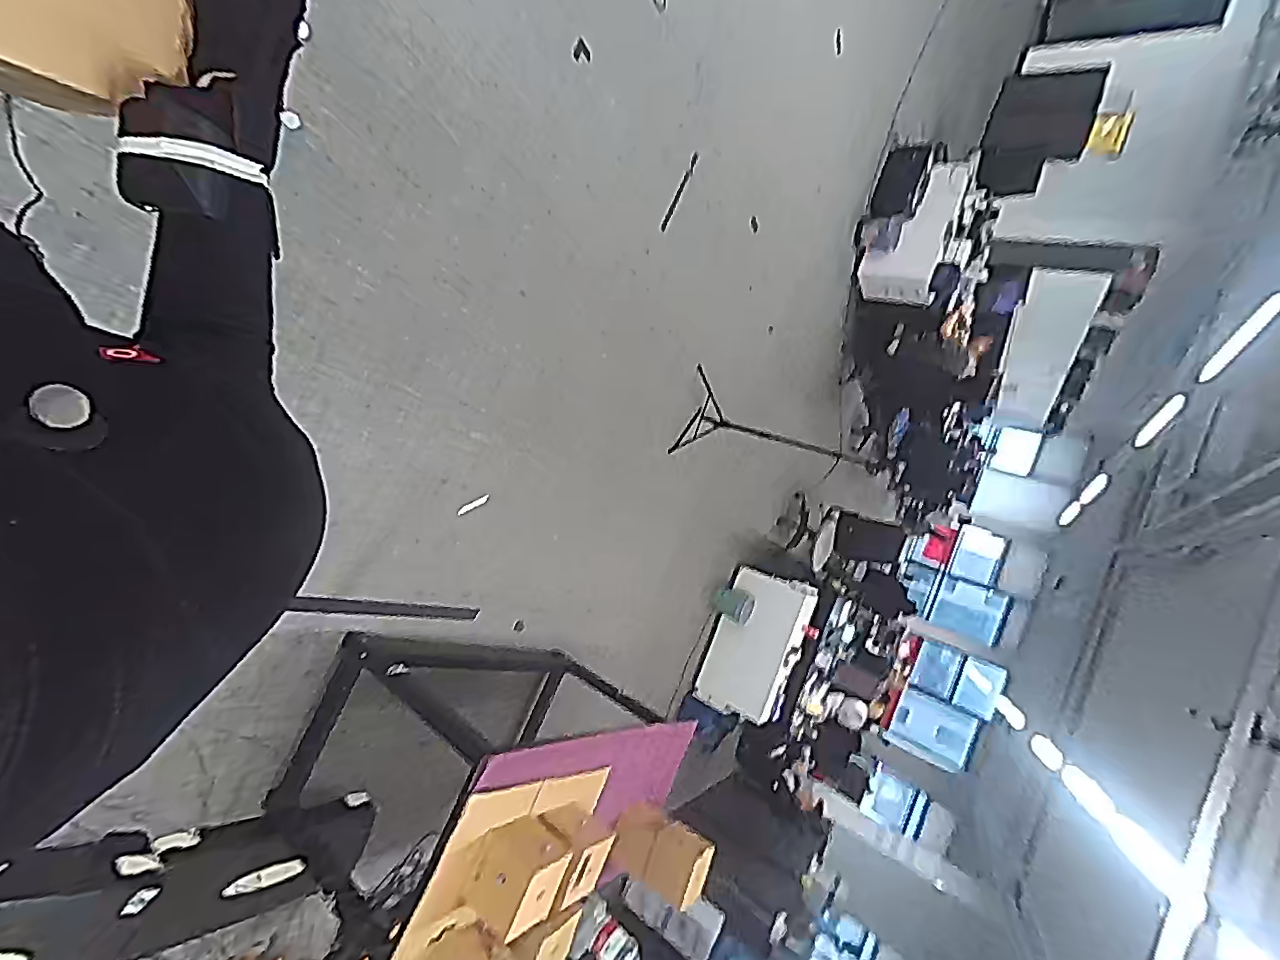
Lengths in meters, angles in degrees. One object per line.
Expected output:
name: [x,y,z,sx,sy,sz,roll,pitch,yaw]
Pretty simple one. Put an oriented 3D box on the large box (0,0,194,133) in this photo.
large box: [-0.511,-0.431,0.257,0.408,0.320,0.320,-5,117,-58]
